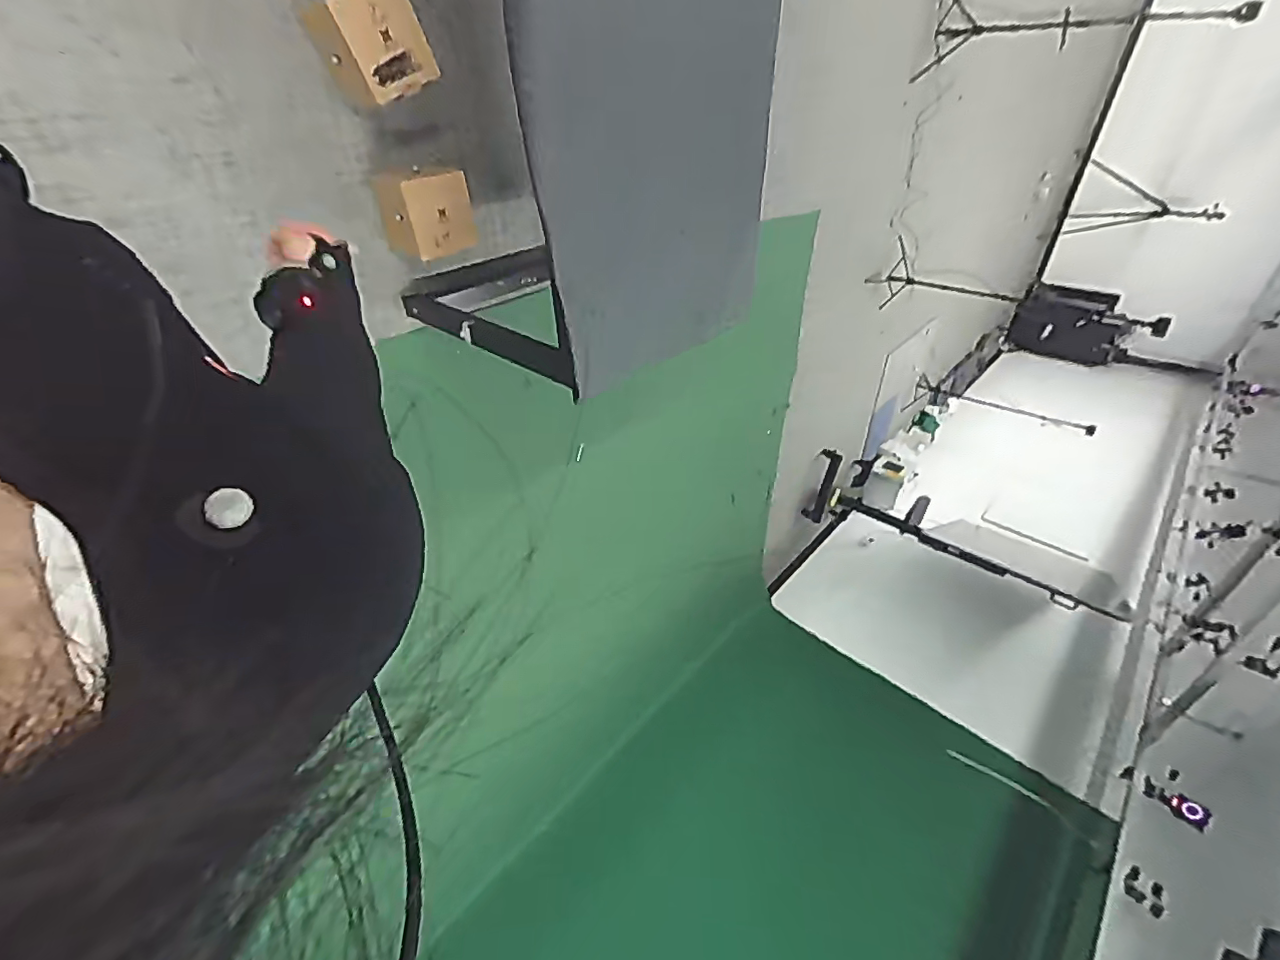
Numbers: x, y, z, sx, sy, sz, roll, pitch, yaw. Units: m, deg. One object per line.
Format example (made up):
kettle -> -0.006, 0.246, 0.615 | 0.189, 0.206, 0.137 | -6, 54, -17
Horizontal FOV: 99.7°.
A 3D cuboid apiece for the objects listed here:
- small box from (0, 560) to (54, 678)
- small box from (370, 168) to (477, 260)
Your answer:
small box -> -1.279, 0.279, 1.027 | 0.179, 0.176, 0.168 | -24, 130, -40
small box -> -0.534, -0.662, 1.334 | 0.168, 0.176, 0.179 | -34, 137, -34
